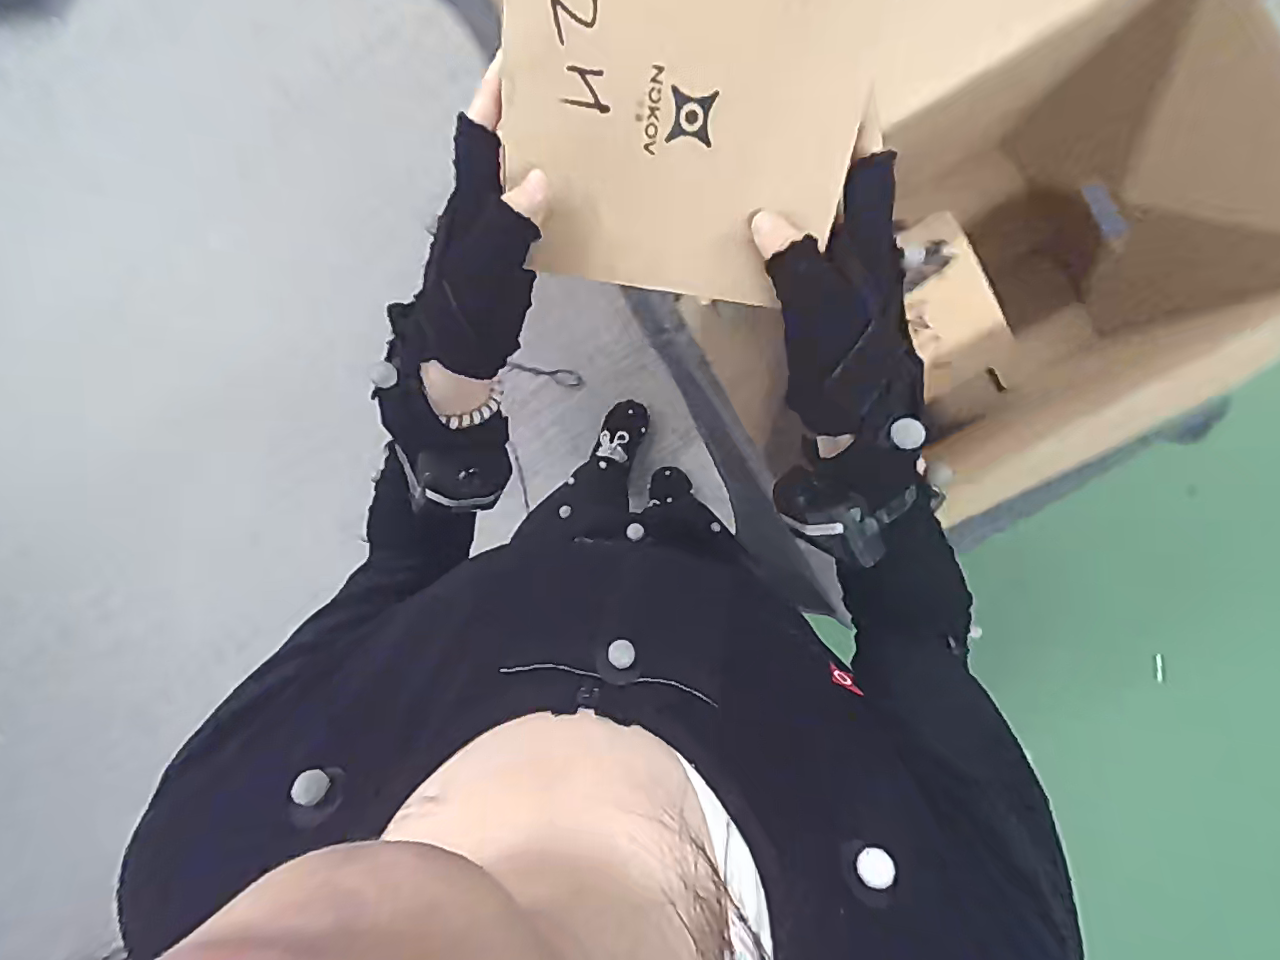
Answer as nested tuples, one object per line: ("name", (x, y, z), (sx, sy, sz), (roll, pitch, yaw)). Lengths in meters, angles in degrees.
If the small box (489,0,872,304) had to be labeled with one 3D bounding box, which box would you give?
("small box", (0.019, -0.222, 0.337), (0.179, 0.176, 0.168), (9, 121, 3))
